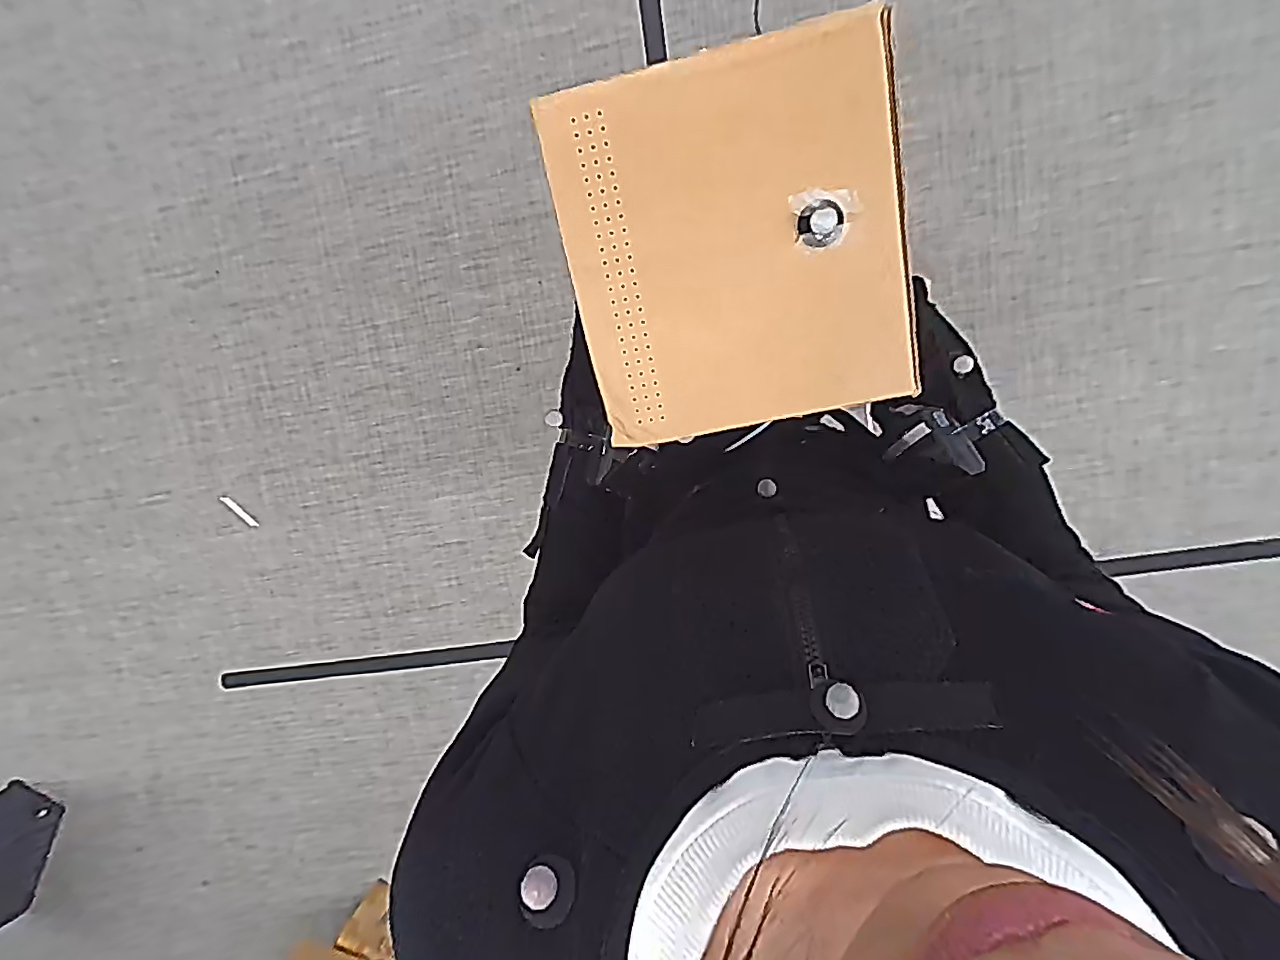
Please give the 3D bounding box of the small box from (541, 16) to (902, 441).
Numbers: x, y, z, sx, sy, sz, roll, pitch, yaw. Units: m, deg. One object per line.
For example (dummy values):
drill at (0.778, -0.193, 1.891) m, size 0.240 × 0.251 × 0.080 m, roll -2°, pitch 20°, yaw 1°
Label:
small box at (0.047, -0.139, 0.354) m, size 0.176 × 0.168 × 0.179 m, roll -10°, pitch 106°, yaw 9°
